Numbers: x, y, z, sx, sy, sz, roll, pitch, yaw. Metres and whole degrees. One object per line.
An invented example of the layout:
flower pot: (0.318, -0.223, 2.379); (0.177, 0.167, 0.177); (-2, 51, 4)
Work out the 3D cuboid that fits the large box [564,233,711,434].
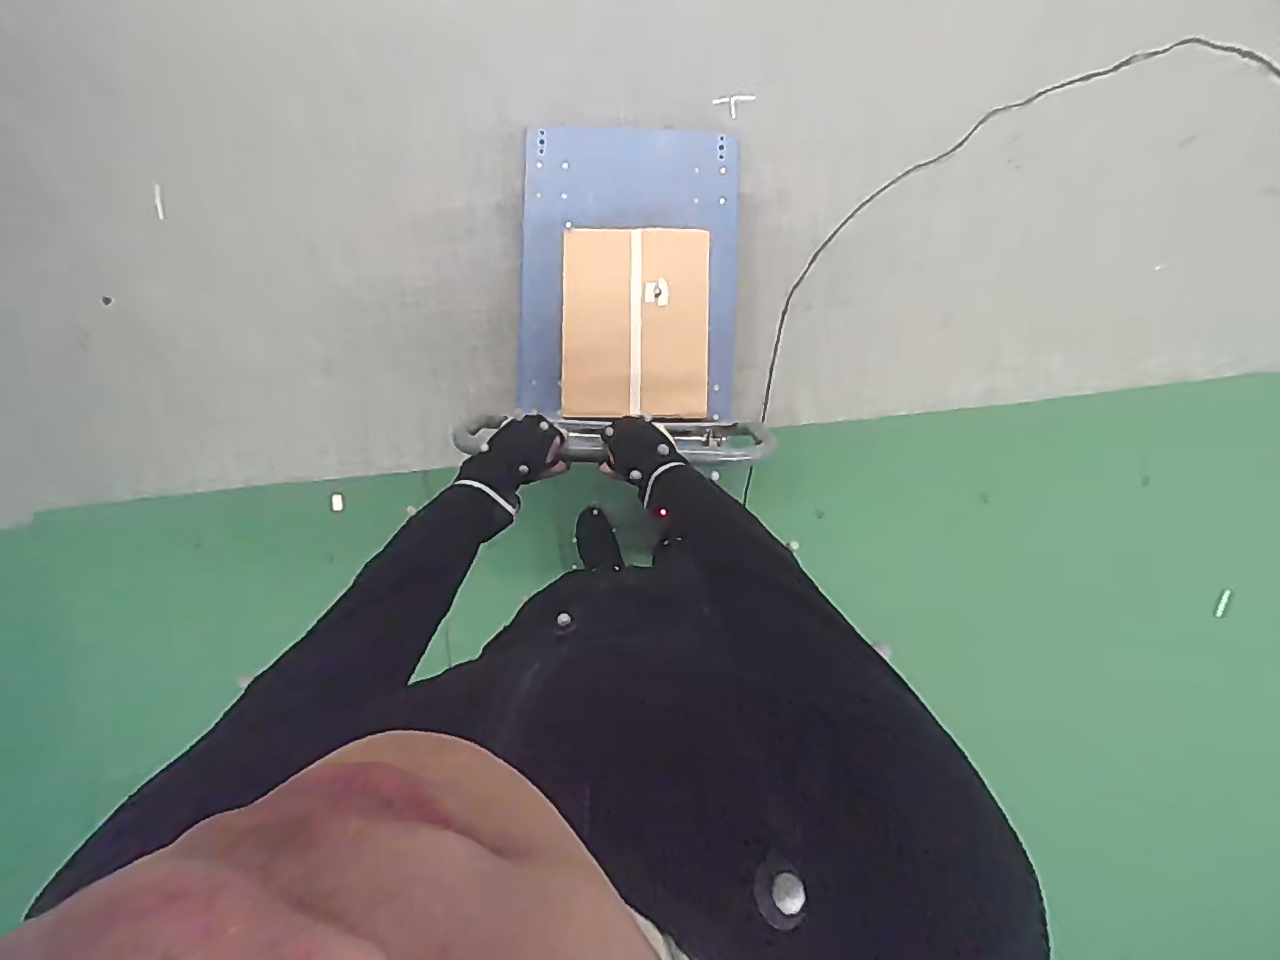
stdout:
large box: (-0.004, -0.321, 1.291); (0.320, 0.320, 0.408); (1, 90, -1)
